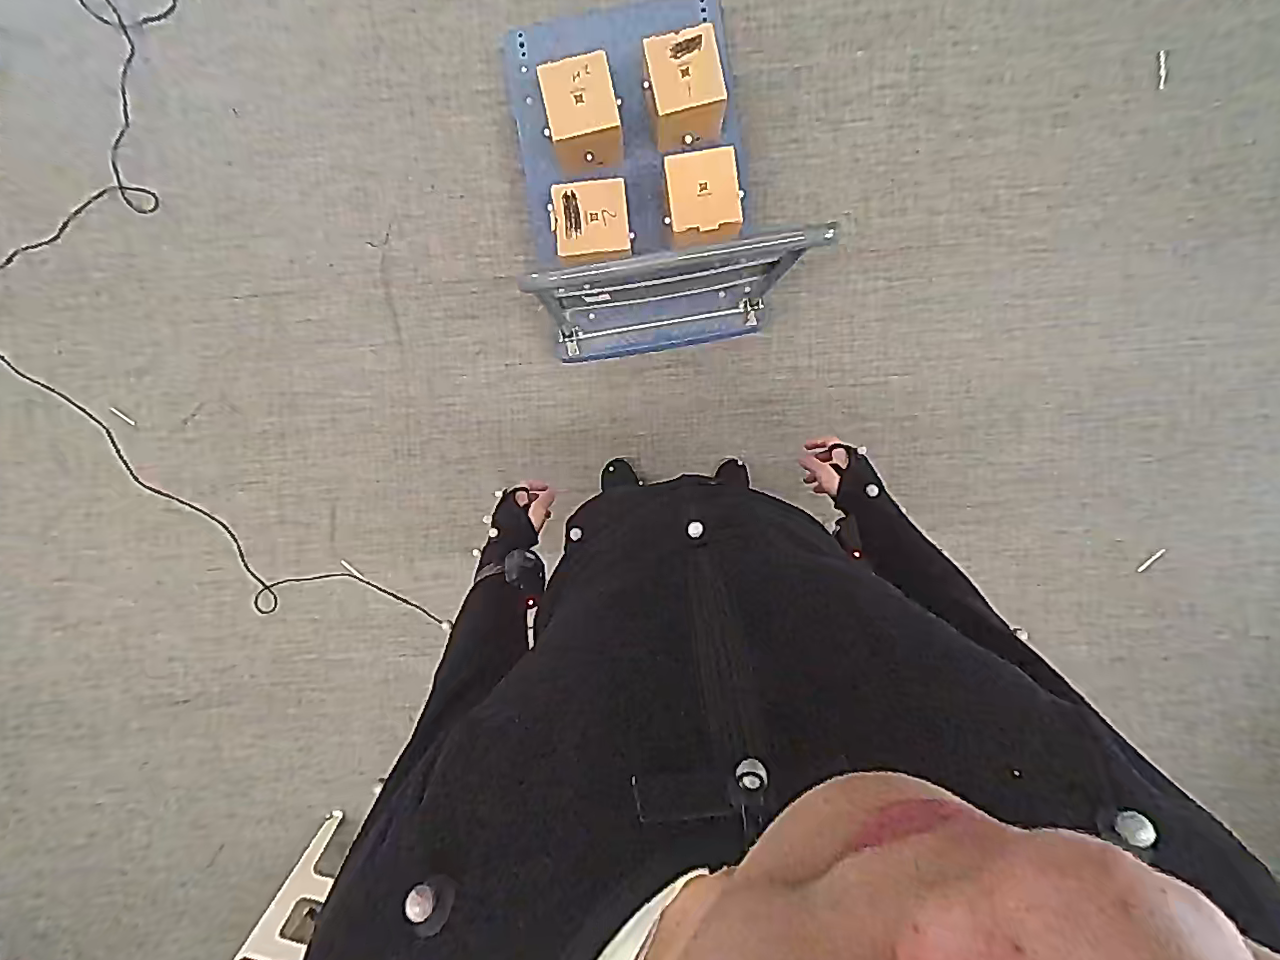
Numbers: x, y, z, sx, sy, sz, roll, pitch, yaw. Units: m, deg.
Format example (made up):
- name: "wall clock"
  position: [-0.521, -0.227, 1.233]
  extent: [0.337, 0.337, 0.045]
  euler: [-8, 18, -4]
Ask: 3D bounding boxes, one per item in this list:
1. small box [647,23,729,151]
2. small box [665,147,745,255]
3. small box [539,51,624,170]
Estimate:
- name: "small box"
  position: [0.111, -0.949, 1.319]
  extent: [0.168, 0.176, 0.179]
  euler: [-12, 94, 3]
- name: "small box"
  position: [0.154, -0.682, 1.337]
  extent: [0.168, 0.176, 0.179]
  euler: [-8, 94, 1]
- name: "small box"
  position: [-0.136, -0.893, 1.329]
  extent: [0.168, 0.176, 0.179]
  euler: [-12, 93, 1]
